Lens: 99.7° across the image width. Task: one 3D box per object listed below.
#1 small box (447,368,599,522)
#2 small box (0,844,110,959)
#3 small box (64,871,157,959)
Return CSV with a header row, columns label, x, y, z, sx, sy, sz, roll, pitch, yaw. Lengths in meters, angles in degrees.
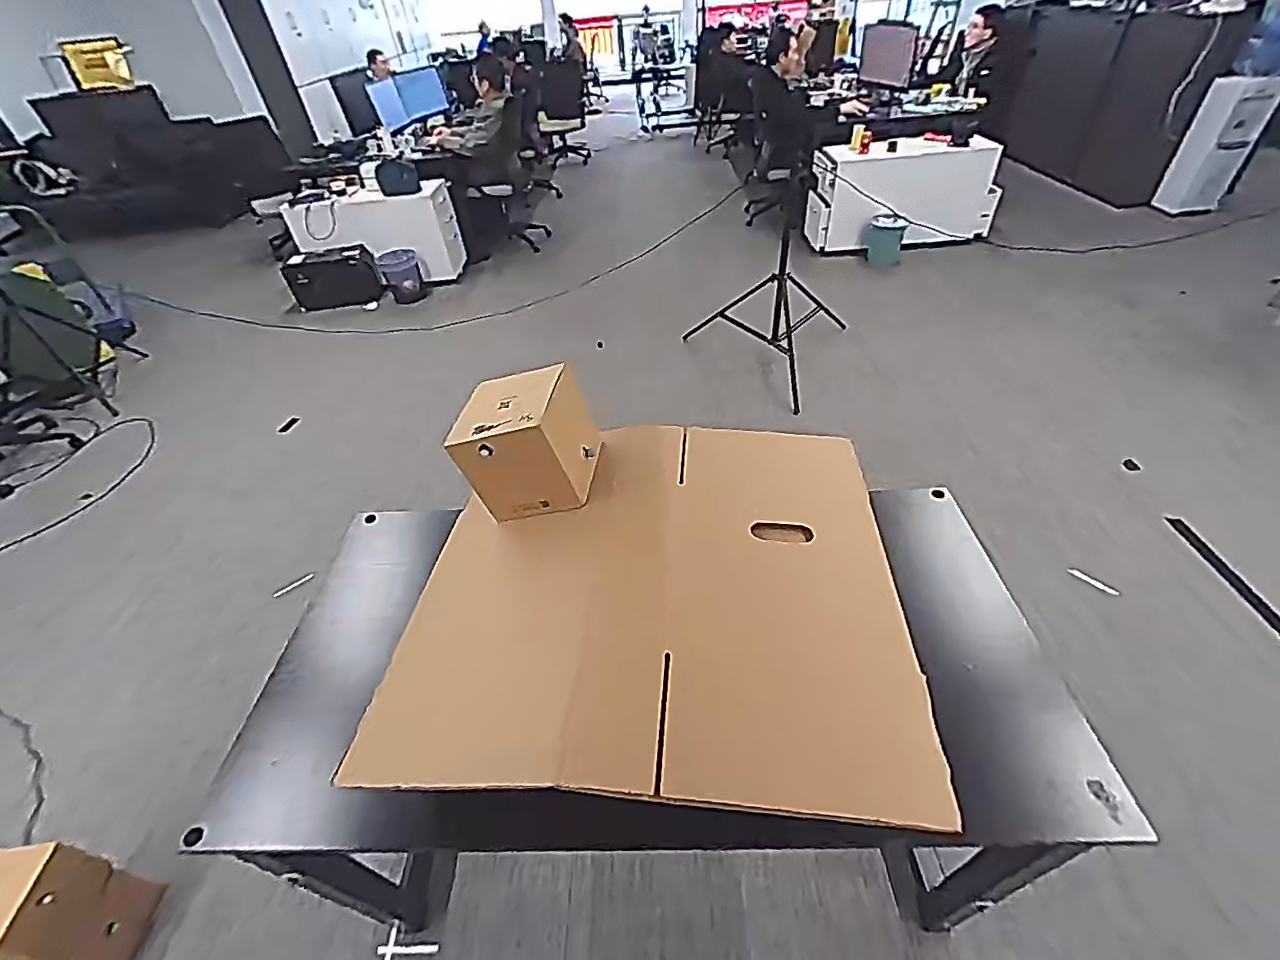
label,x,y,z,sx,sy,sz,roll,pitch,yaw
small box,-0.178,-0.056,0.892,0.168,0.176,0.179,-11,38,17
small box,-1.231,0.858,1.072,0.168,0.176,0.179,-7,41,-3
small box,-1.217,0.982,1.176,0.168,0.176,0.179,-6,43,0
